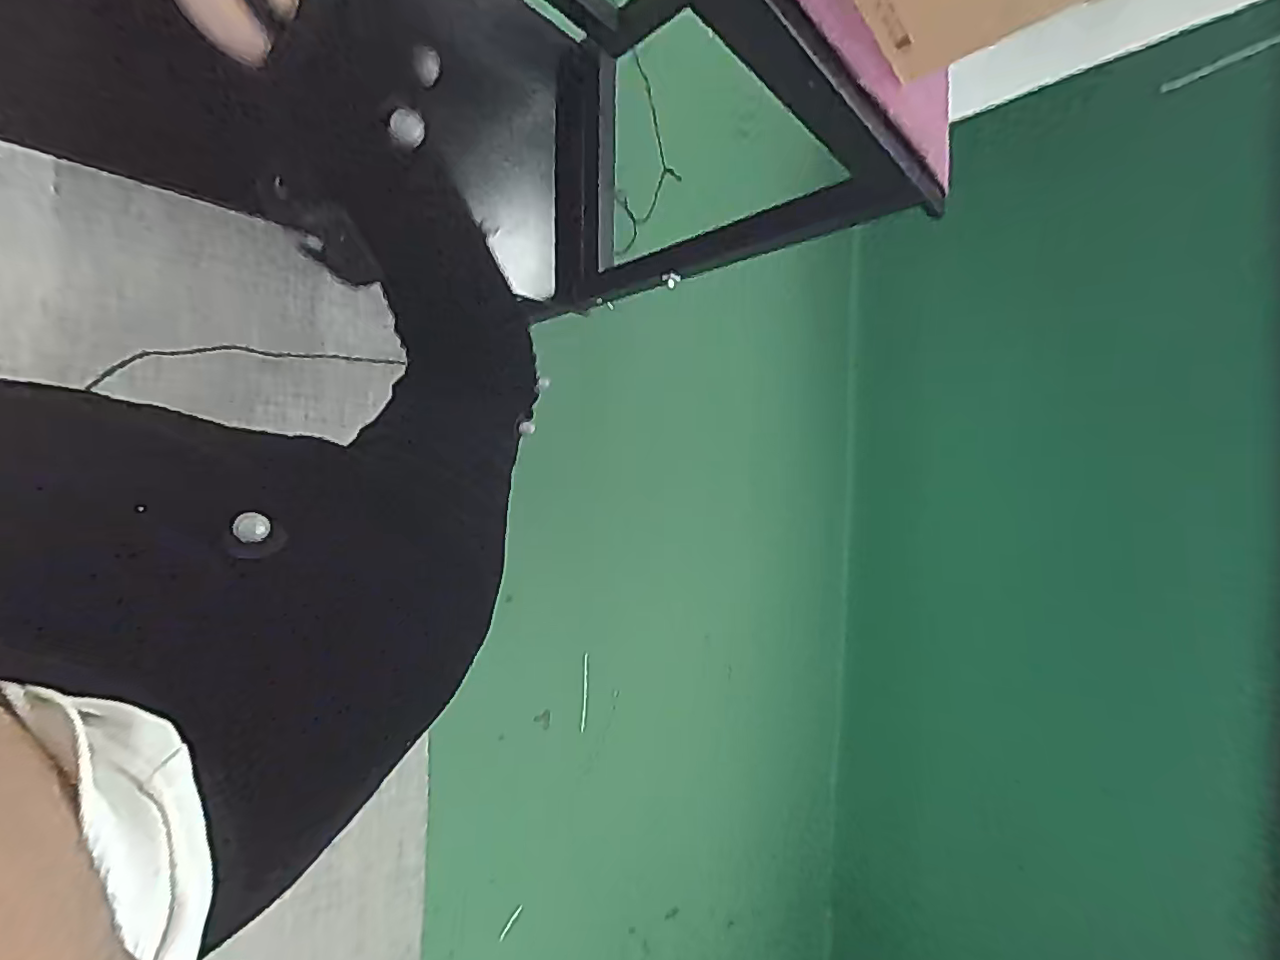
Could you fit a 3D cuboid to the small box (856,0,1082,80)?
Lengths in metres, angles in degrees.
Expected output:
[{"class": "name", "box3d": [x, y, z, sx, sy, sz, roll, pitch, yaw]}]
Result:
[{"class": "small box", "box3d": [0.307, -0.540, 0.507, 0.168, 0.176, 0.179, 6, 86, -45]}]
